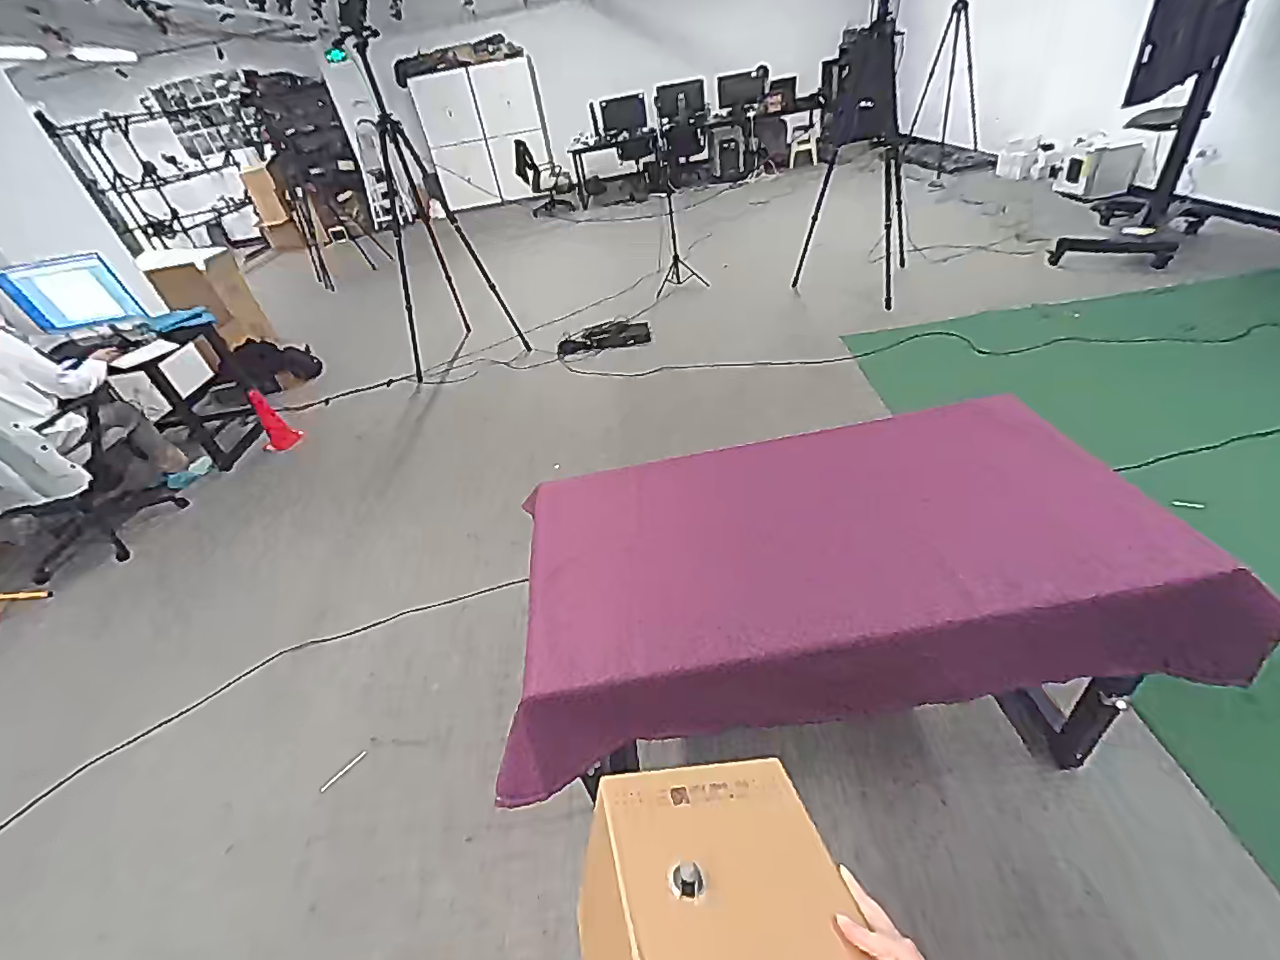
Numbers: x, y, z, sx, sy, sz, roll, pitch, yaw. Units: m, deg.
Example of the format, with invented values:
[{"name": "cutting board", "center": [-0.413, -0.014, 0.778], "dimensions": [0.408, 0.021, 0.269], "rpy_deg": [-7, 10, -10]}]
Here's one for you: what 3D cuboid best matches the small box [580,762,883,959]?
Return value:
[{"name": "small box", "center": [0.049, 0.349, 0.429], "dimensions": [0.168, 0.179, 0.176], "rpy_deg": [3, 23, -15]}]
